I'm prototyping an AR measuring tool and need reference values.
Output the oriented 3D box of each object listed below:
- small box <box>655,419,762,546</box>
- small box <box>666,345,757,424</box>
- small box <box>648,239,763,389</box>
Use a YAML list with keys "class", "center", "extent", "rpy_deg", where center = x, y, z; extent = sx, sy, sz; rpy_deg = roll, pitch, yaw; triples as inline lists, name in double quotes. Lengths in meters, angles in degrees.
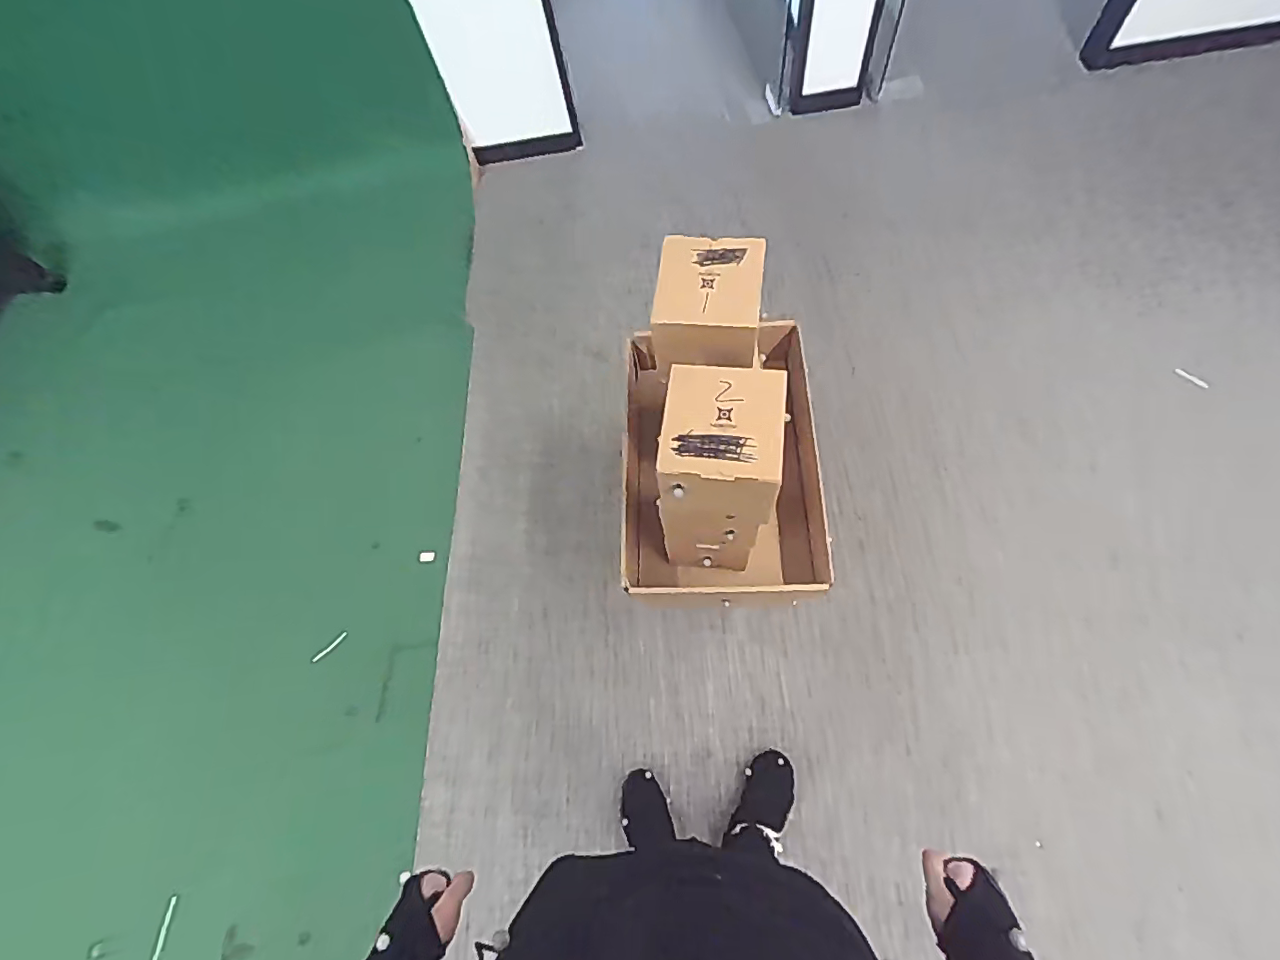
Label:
- class: "small box"
  center: [0.125, 0.011, 0.971]
  extent: [0.168, 0.176, 0.179]
  rpy_deg: [5, 66, 8]
- class: "small box"
  center: [0.135, -0.213, 1.072]
  extent: [0.168, 0.176, 0.179]
  rpy_deg: [-3, 68, 5]
- class: "small box"
  center: [0.112, -0.279, 0.923]
  extent: [0.168, 0.176, 0.179]
  rpy_deg: [6, 69, 9]
